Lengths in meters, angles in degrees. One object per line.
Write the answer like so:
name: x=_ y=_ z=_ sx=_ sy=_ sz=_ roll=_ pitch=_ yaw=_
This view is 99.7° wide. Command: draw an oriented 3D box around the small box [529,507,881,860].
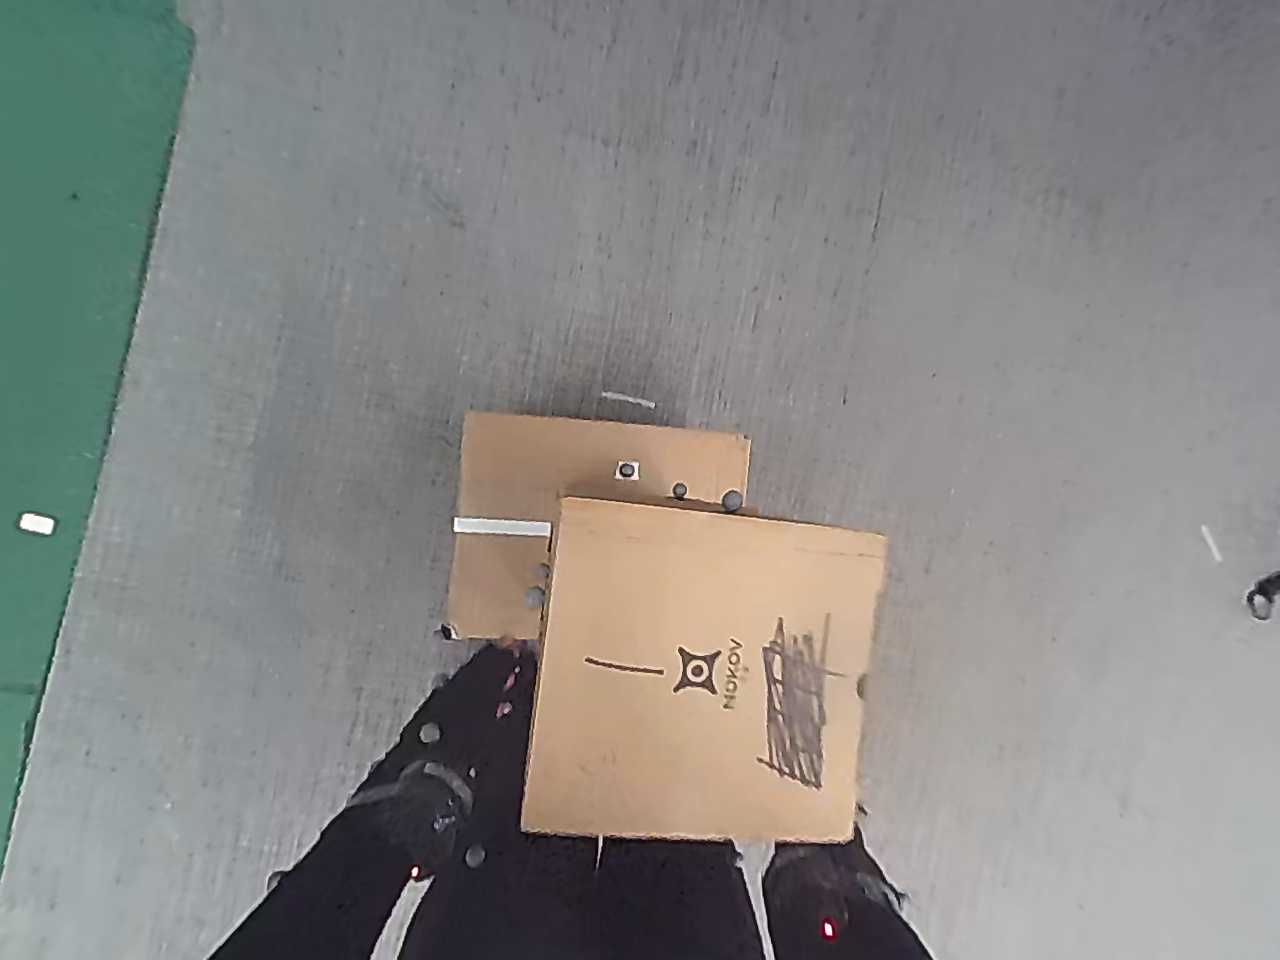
small box: x=0.025 y=0.107 z=0.353 sx=0.179 sy=0.176 sz=0.168 roll=4 pitch=89 yaw=-9
